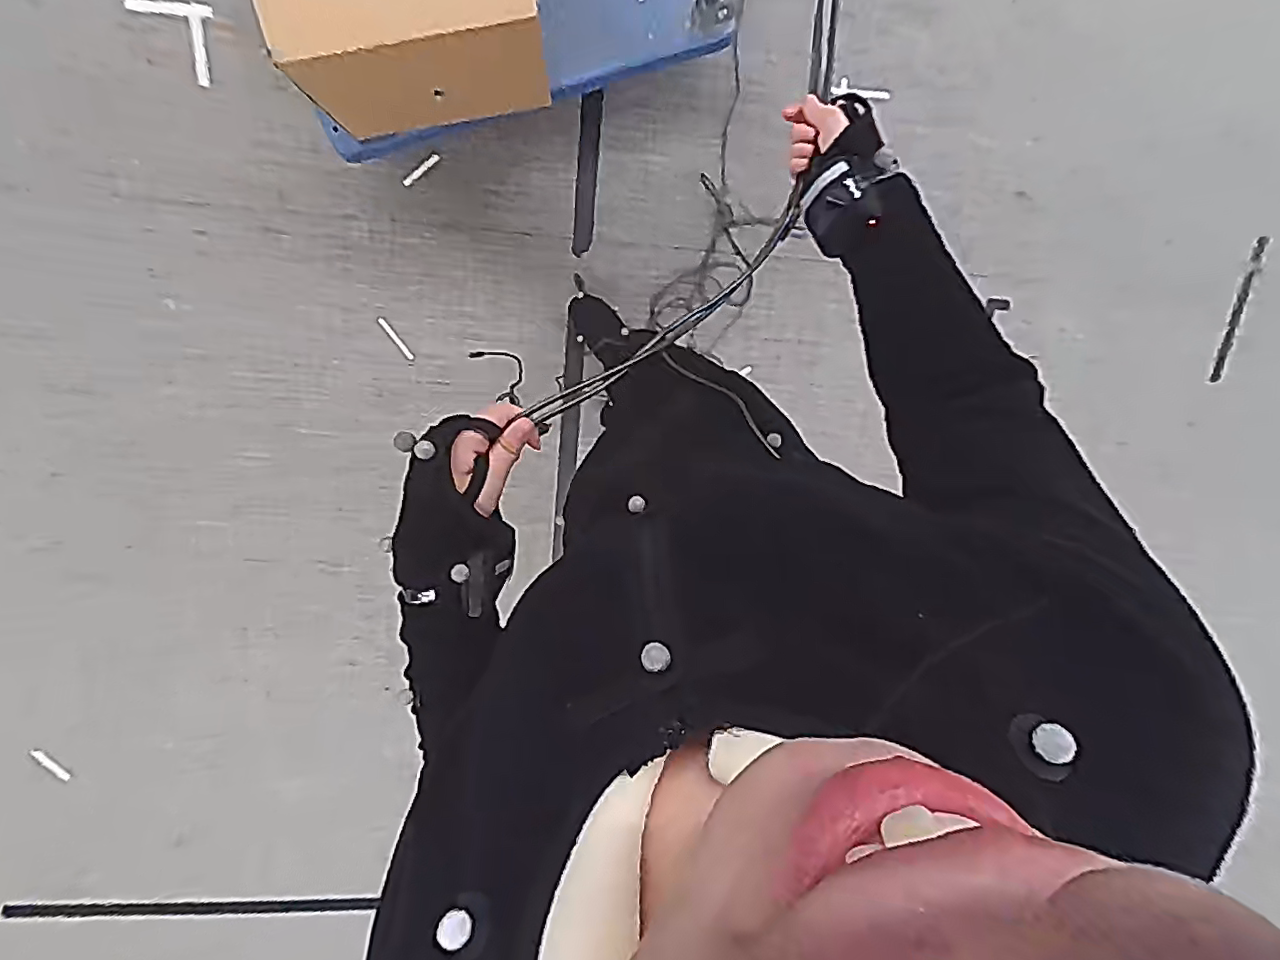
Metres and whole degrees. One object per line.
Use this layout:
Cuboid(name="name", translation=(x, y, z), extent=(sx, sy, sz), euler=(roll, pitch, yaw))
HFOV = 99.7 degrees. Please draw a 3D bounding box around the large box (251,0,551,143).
Cuboid(name="large box", translation=(-0.392, -0.827, 0.916), extent=(0.408, 0.320, 0.320), euler=(-13, 103, -2))
